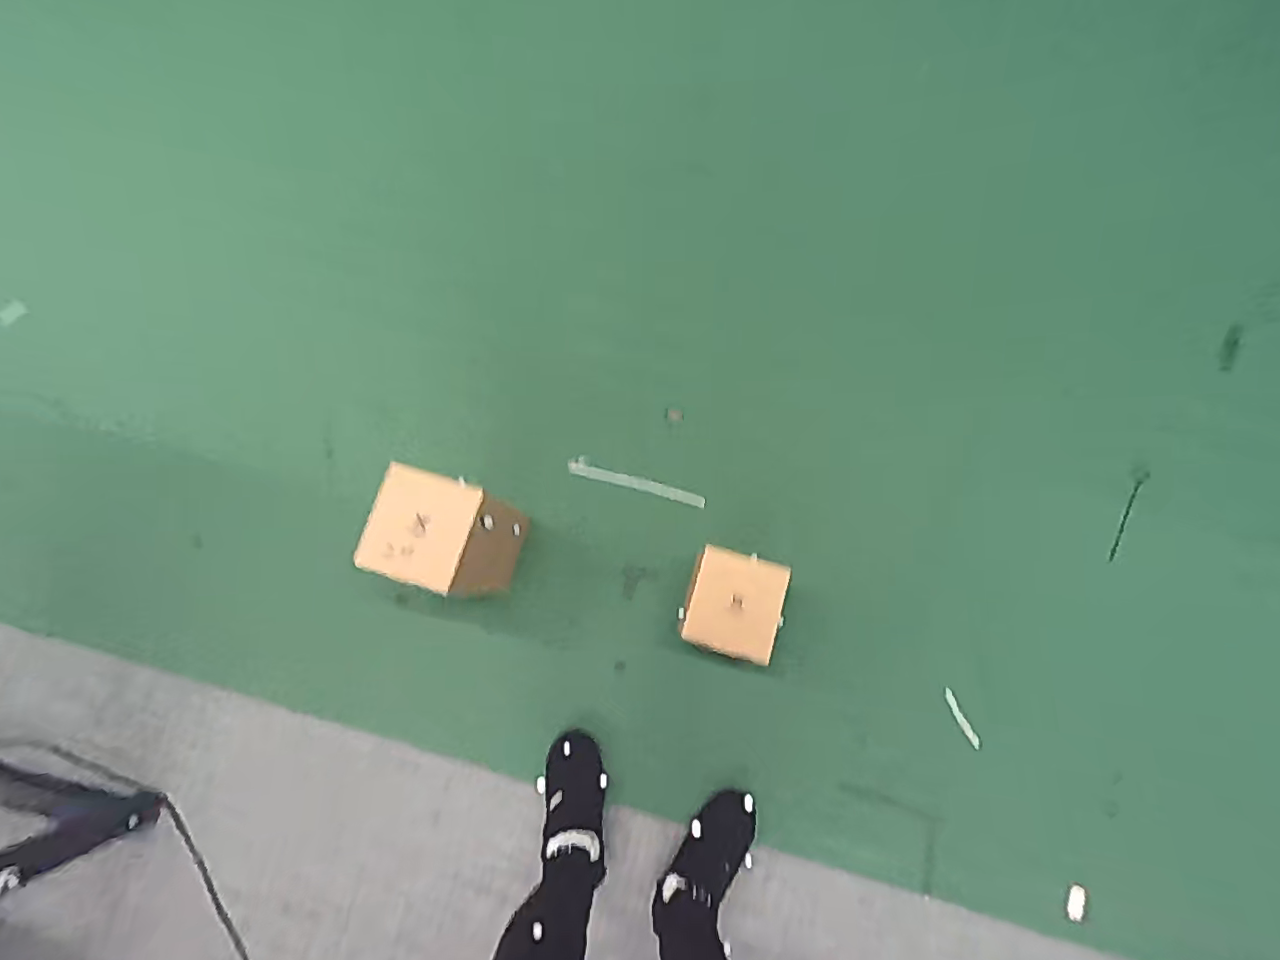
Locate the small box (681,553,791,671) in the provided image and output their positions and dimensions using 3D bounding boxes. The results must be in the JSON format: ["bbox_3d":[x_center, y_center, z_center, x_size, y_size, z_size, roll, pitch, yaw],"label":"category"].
[{"bbox_3d":[0.181,0.255,1.070,0.168,0.176,0.179,16,80,5],"label":"small box"}]

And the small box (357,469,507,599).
[{"bbox_3d":[-0.350,0.101,0.950,0.168,0.176,0.179,17,79,6],"label":"small box"}]
